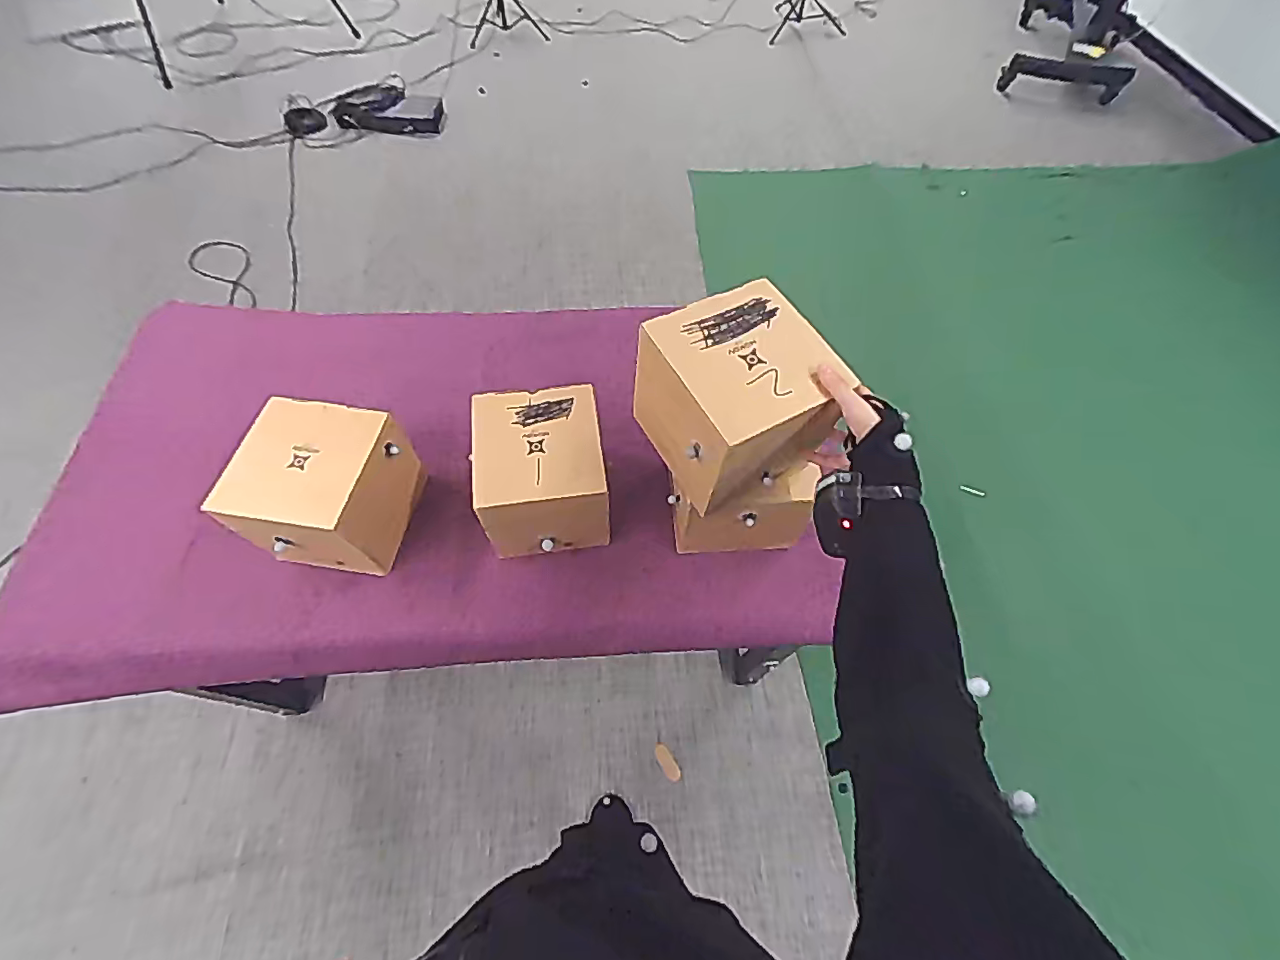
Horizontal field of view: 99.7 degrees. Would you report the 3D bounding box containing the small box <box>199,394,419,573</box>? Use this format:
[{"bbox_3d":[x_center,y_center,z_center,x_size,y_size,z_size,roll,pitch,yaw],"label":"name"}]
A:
[{"bbox_3d":[-0.426,0.011,0.737,0.168,0.176,0.179,9,59,3],"label":"small box"}]

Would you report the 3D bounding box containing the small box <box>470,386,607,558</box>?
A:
[{"bbox_3d":[-0.137,-0.008,0.762,0.168,0.176,0.179,-6,61,-6],"label":"small box"}]

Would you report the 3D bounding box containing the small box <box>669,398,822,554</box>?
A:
[{"bbox_3d":[0.134,0.001,0.769,0.179,0.176,0.168,-1,61,-3],"label":"small box"}]
